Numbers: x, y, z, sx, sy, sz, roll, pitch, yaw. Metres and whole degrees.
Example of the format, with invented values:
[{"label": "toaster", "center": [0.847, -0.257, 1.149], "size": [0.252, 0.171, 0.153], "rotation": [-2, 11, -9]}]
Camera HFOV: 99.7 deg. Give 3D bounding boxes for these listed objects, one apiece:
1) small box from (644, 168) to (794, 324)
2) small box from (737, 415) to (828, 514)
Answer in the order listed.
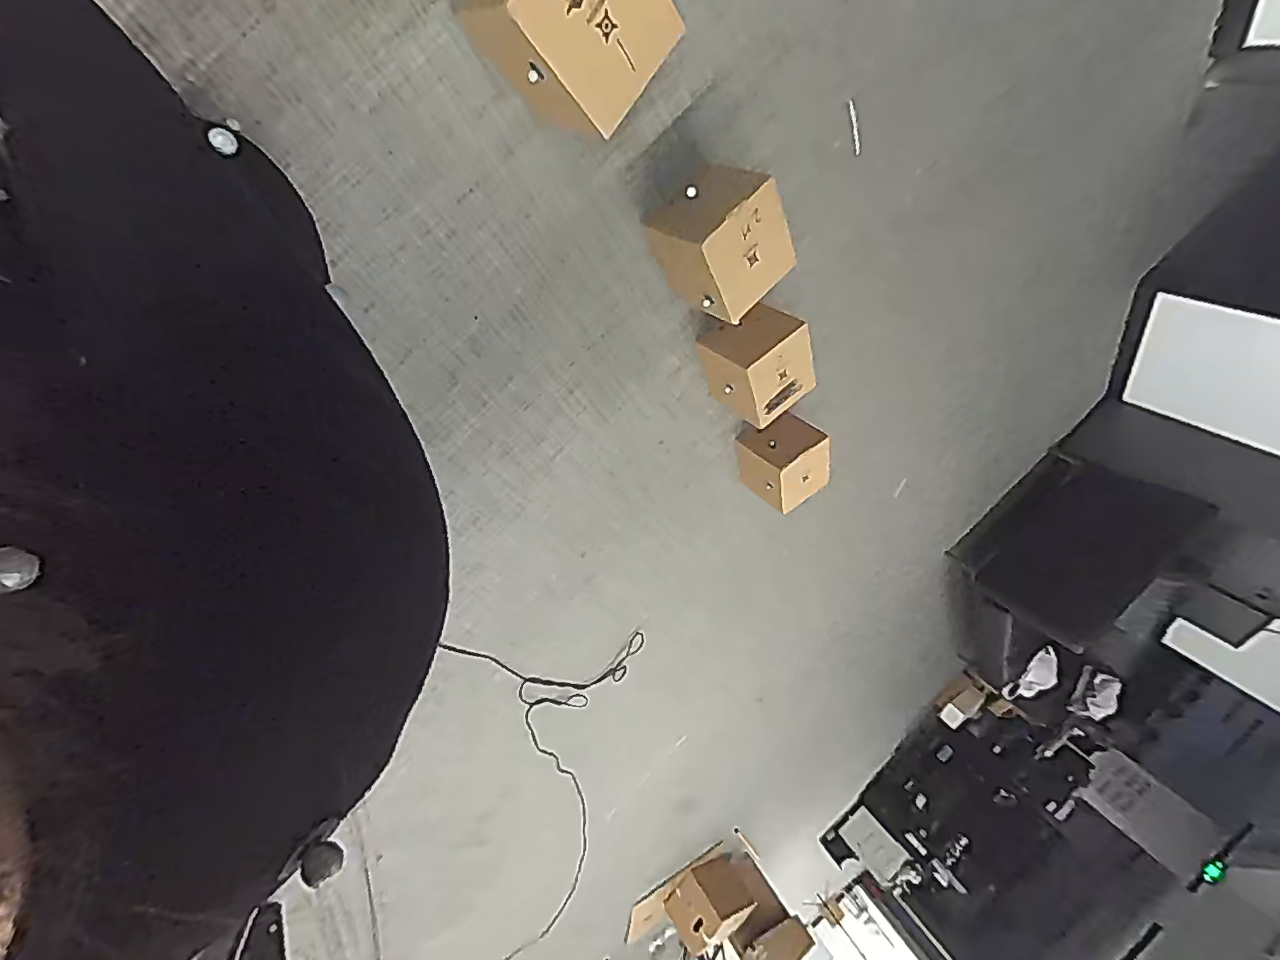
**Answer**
[{"label": "small box", "center": [0.138, -0.416, 0.955], "size": [0.168, 0.176, 0.179], "rotation": [-44, 138, -4]}, {"label": "small box", "center": [0.372, -0.051, 1.426], "size": [0.168, 0.176, 0.179], "rotation": [-33, 137, -14]}]
